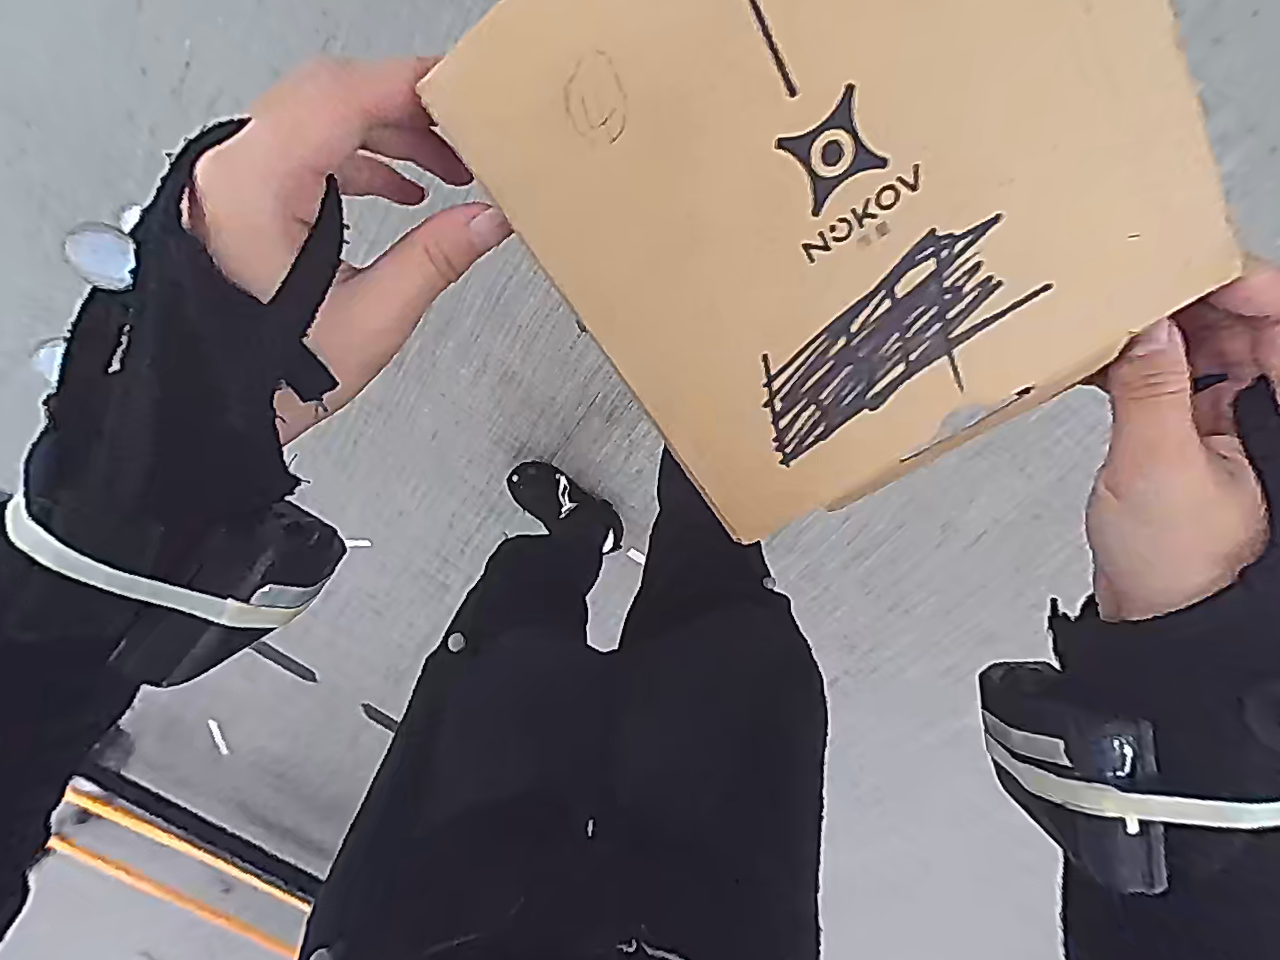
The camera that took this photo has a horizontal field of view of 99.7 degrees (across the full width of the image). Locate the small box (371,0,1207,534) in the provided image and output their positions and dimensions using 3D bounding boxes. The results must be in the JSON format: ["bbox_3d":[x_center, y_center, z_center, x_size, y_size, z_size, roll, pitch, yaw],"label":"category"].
[{"bbox_3d":[0.047,-0.117,0.218,0.168,0.176,0.179,-33,109,16],"label":"small box"}]
